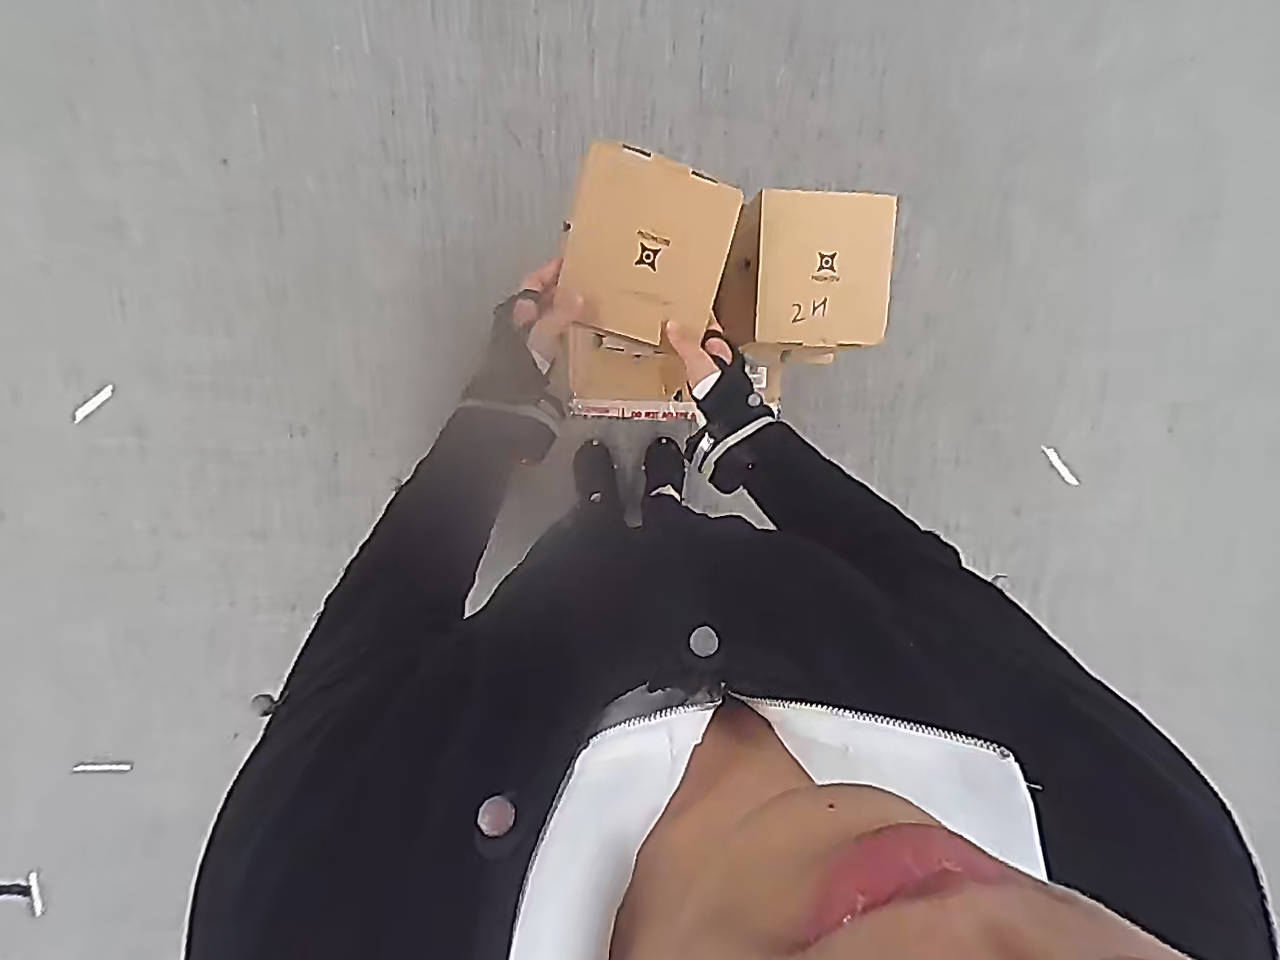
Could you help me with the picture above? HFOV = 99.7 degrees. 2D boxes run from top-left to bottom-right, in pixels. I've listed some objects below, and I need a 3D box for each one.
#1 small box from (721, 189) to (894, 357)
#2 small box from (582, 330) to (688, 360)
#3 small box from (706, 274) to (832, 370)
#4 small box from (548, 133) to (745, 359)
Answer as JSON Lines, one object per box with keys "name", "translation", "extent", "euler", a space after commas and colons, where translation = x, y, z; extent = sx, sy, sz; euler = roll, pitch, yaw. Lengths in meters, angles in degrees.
{"name": "small box", "translation": [0.209, -0.261, 0.720], "extent": [0.168, 0.176, 0.179], "euler": [0, 100, -6]}
{"name": "small box", "translation": [0.000, -0.287, 0.867], "extent": [0.168, 0.176, 0.179], "euler": [4, 101, -3]}
{"name": "small box", "translation": [0.210, -0.276, 0.885], "extent": [0.168, 0.176, 0.179], "euler": [2, 100, -6]}
{"name": "small box", "translation": [-0.007, -0.251, 0.621], "extent": [0.168, 0.176, 0.179], "euler": [13, 103, -15]}
